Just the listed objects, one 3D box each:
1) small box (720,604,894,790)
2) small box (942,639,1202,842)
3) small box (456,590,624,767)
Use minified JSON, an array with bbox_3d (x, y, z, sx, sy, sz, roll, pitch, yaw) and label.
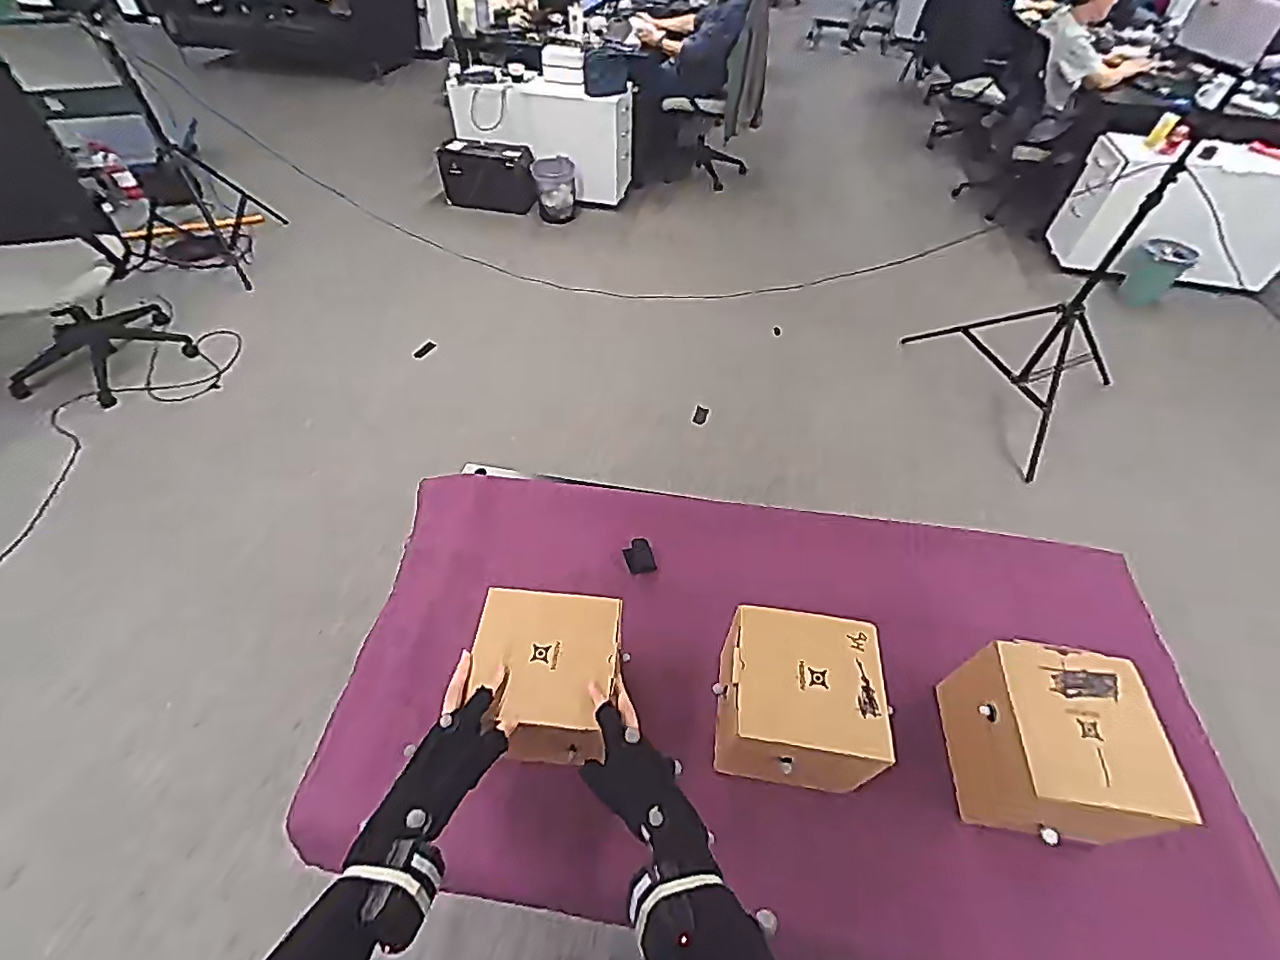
[{"bbox_3d":[0.201,0.284,0.702,0.179,0.176,0.168,7,49,5],"label":"small box"},{"bbox_3d":[0.508,0.326,0.675,0.168,0.176,0.179,7,49,5],"label":"small box"},{"bbox_3d":[-0.115,0.264,0.709,0.179,0.176,0.168,3,48,2],"label":"small box"}]
